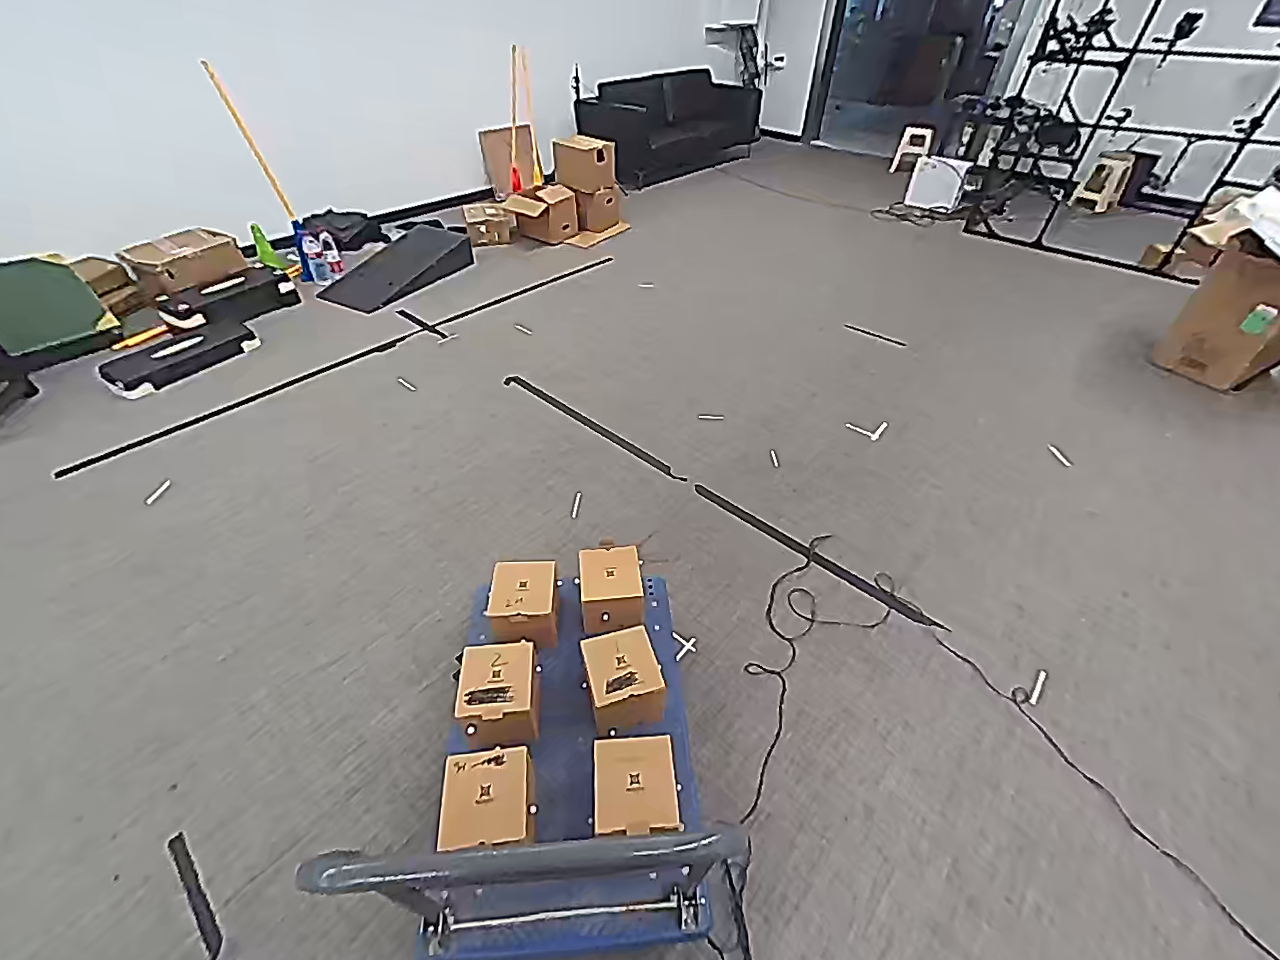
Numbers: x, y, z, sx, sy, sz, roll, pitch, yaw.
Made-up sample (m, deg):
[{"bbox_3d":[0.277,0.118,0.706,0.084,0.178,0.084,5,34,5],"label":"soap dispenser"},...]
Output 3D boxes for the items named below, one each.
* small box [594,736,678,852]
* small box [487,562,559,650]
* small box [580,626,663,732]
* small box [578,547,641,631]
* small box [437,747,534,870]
[{"bbox_3d":[-0.013,0.670,1.149,0.168,0.176,0.179,-1,42,-4],"label":"small box"},{"bbox_3d":[-0.315,0.346,1.488,0.168,0.176,0.179,-1,43,-3],"label":"small box"},{"bbox_3d":[-0.047,0.496,1.336,0.168,0.176,0.179,-11,43,-14],"label":"small box"},{"bbox_3d":[-0.087,0.314,1.536,0.168,0.176,0.179,-4,43,-7],"label":"small box"},{"bbox_3d":[-0.310,0.684,1.120,0.168,0.176,0.179,-4,43,-8],"label":"small box"}]
